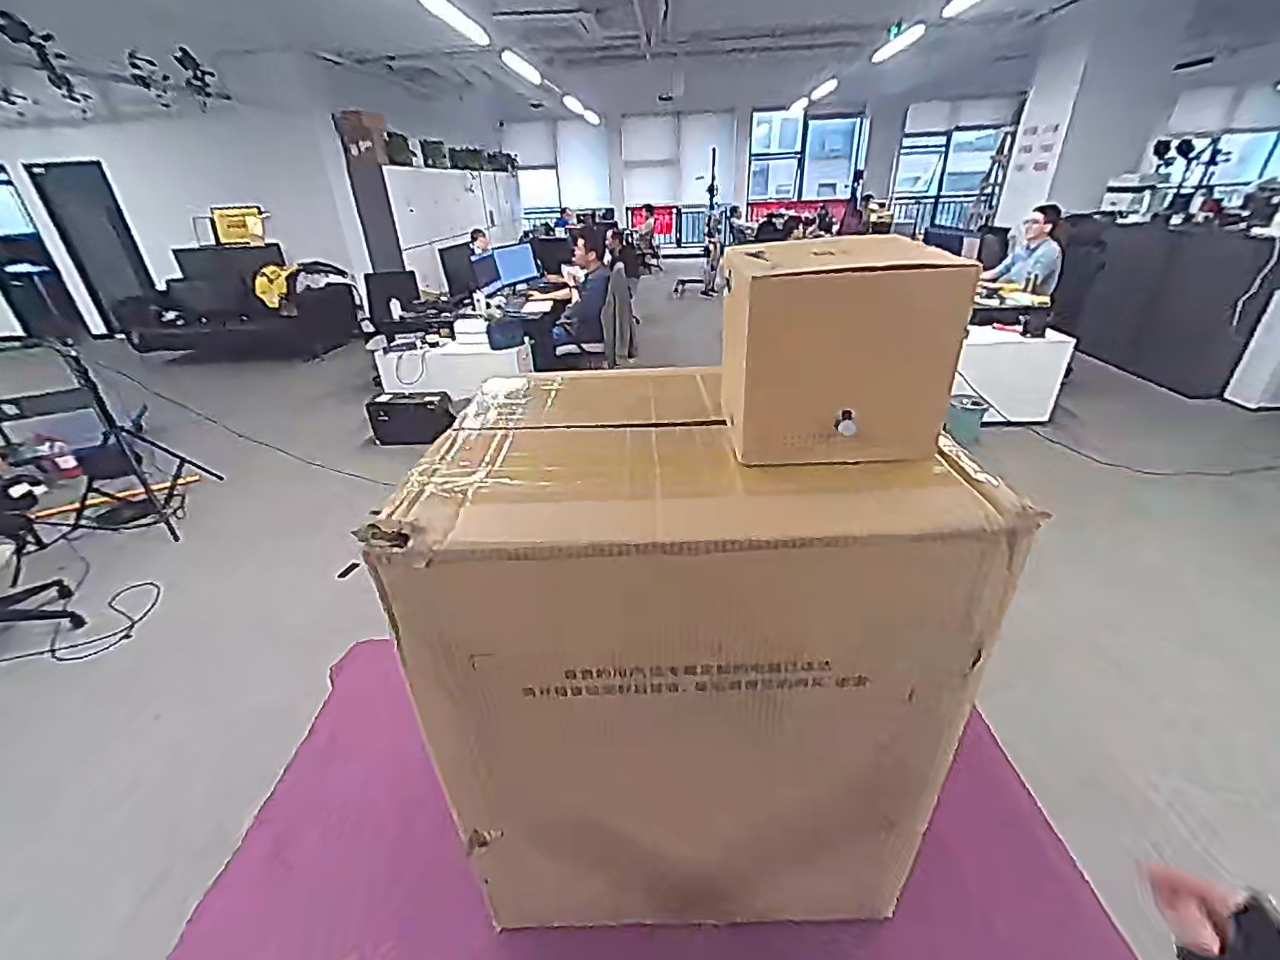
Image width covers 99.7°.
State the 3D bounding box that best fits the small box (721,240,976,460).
[{"bbox_3d":[0.175,-0.128,0.521,0.179,0.176,0.168,-2,29,2],"label":"small box"}]
